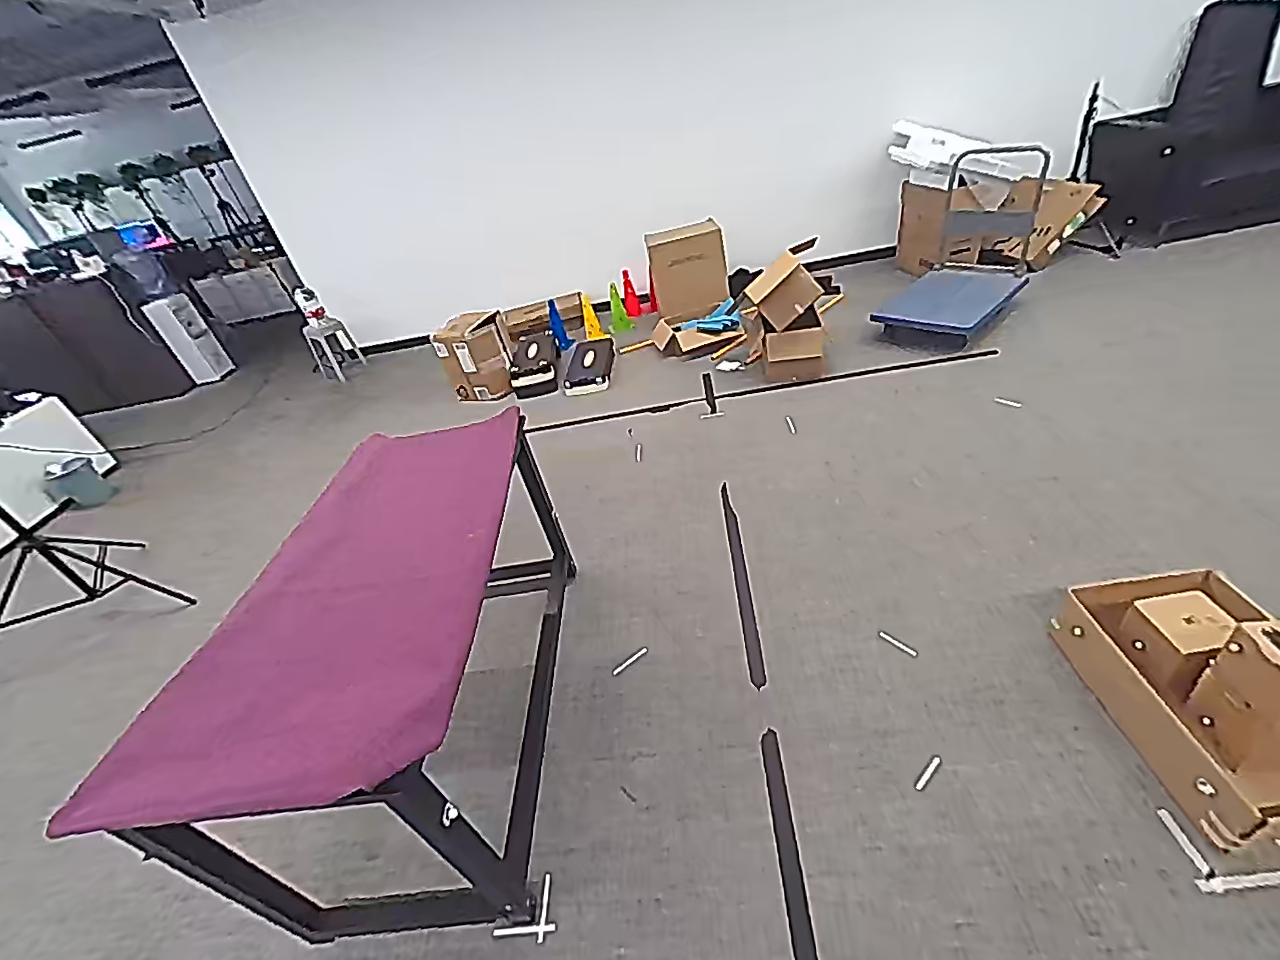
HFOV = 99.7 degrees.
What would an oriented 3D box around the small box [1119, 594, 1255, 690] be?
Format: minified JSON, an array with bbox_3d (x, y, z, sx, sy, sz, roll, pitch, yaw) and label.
[{"bbox_3d":[1.407,0.427,1.413,0.179,0.176,0.168,-10,37,5],"label":"small box"}]

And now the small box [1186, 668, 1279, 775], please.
[{"bbox_3d":[1.430,0.555,1.239,0.179,0.176,0.168,-7,34,10],"label":"small box"}]
